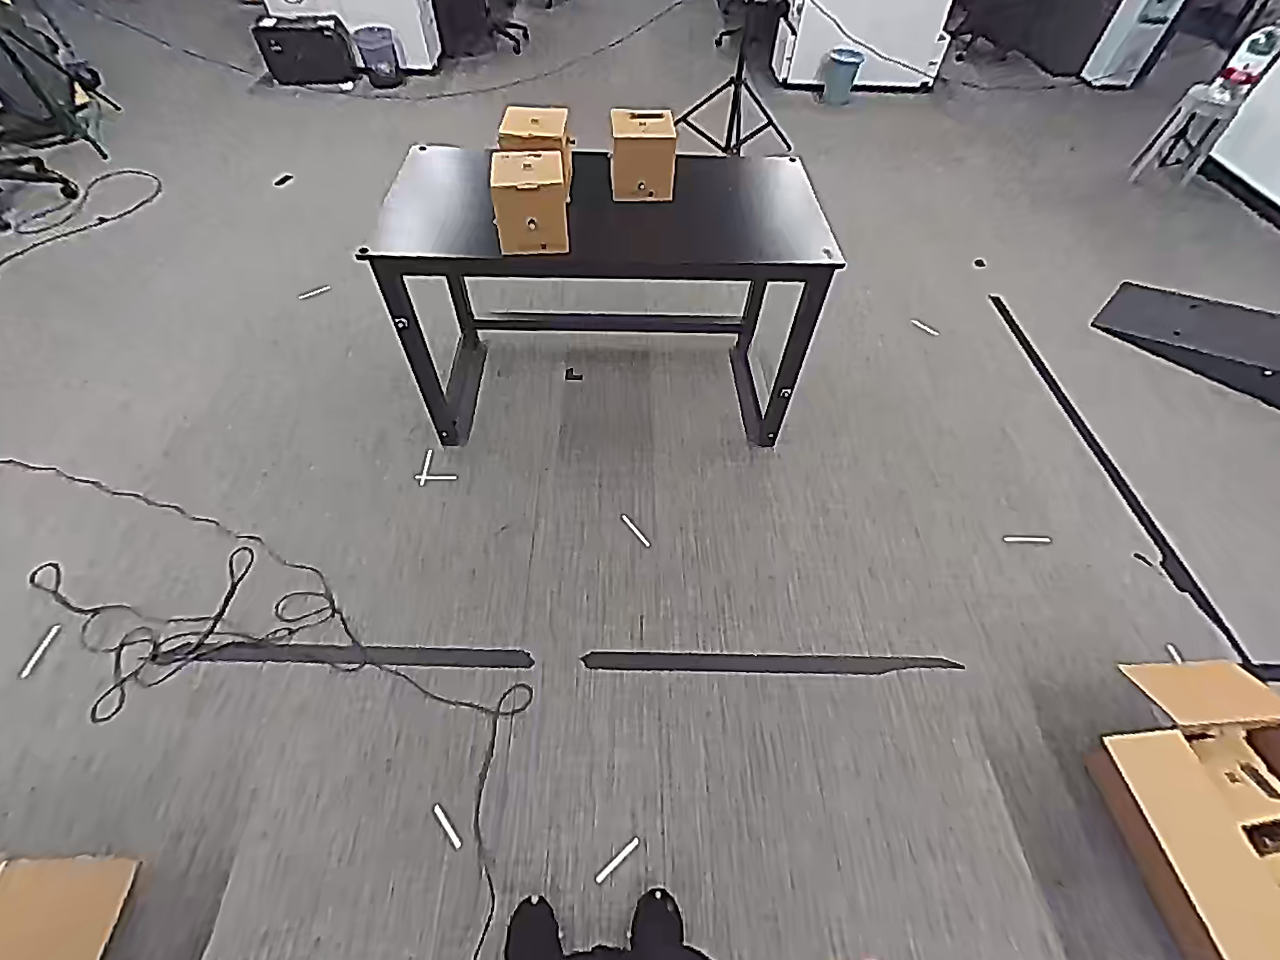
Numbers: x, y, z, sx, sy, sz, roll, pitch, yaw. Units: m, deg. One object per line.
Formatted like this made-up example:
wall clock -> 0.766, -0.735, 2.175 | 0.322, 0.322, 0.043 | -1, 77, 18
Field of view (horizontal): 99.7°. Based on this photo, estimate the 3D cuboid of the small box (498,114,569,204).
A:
small box -> -0.287, -0.883, 1.495 | 0.168, 0.176, 0.179 | 1, 53, -2

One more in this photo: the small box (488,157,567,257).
small box -> -0.271, -0.667, 1.331 | 0.168, 0.176, 0.179 | -5, 54, -6
